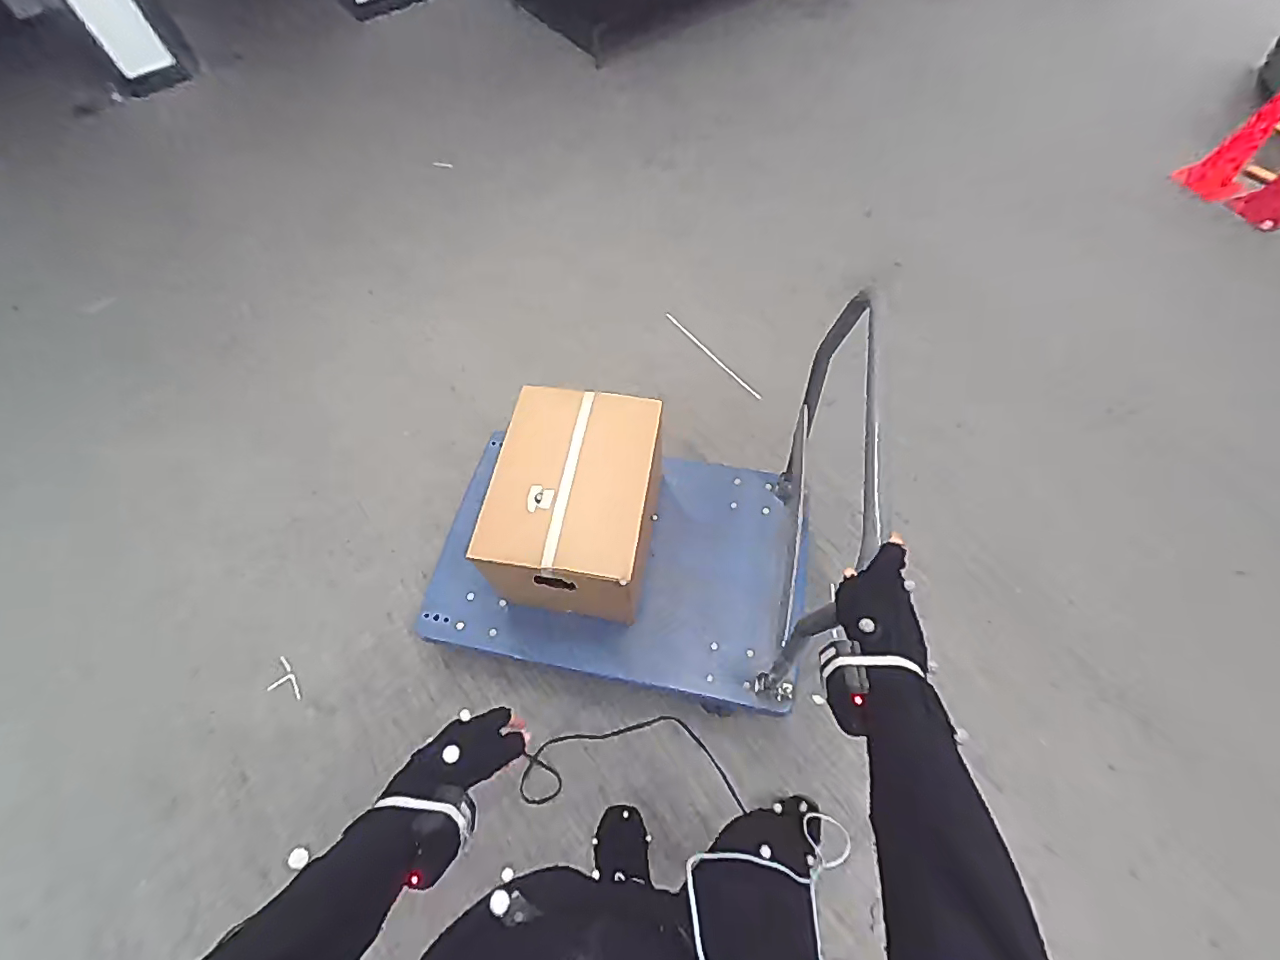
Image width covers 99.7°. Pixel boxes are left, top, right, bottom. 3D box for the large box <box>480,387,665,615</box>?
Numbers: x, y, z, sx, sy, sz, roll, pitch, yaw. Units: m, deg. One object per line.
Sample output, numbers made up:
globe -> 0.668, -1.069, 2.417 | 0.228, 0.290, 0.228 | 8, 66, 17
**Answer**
large box -> -0.121, 0.054, 1.219 | 0.320, 0.320, 0.408 | 7, 64, 6
